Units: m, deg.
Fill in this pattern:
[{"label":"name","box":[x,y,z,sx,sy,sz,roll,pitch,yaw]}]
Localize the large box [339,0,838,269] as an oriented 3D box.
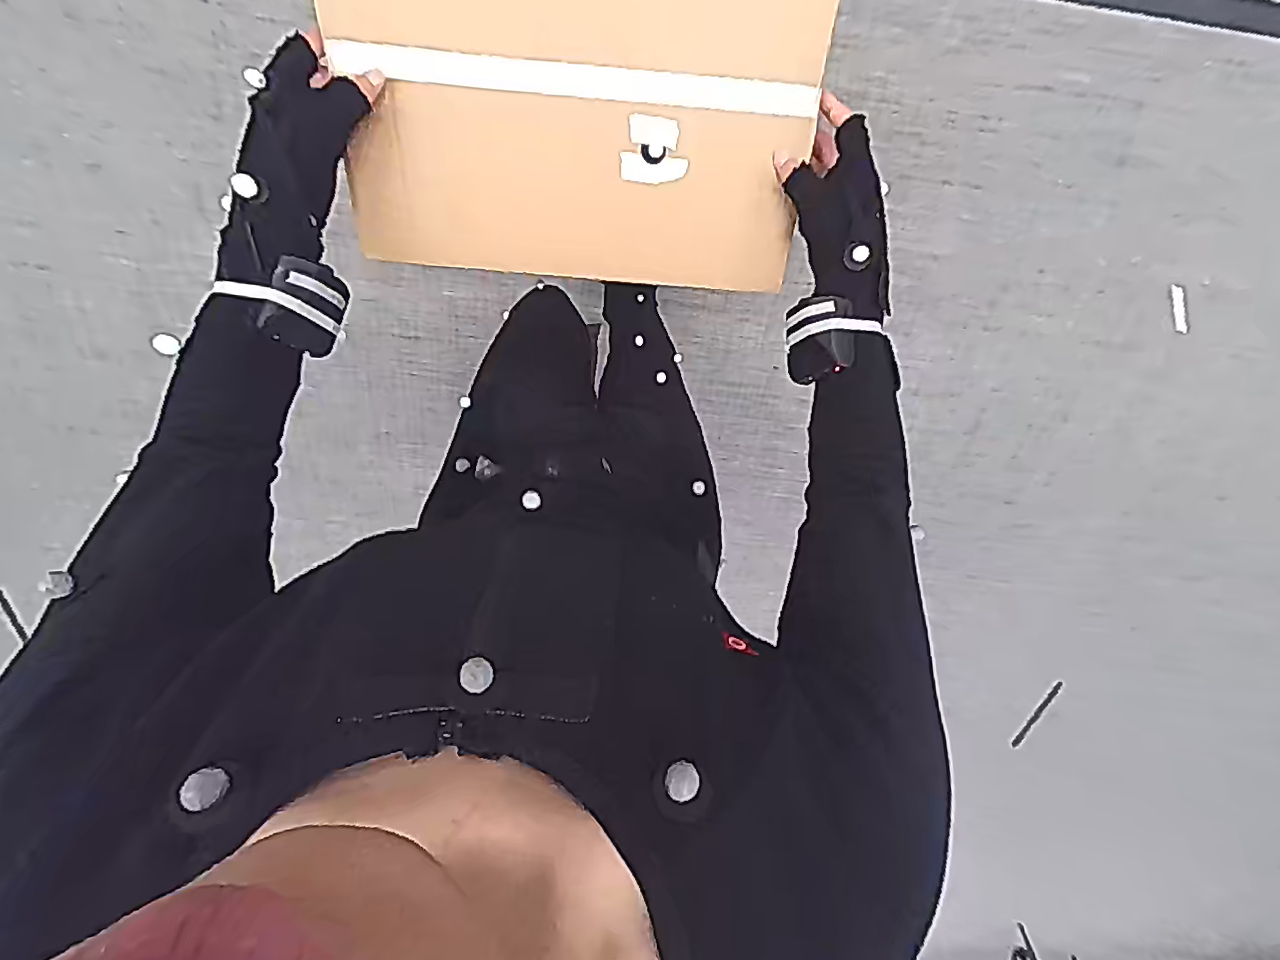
[{"label":"large box","box":[-0.048,-0.426,0.577,0.408,0.320,0.320,3,123,-4]}]
